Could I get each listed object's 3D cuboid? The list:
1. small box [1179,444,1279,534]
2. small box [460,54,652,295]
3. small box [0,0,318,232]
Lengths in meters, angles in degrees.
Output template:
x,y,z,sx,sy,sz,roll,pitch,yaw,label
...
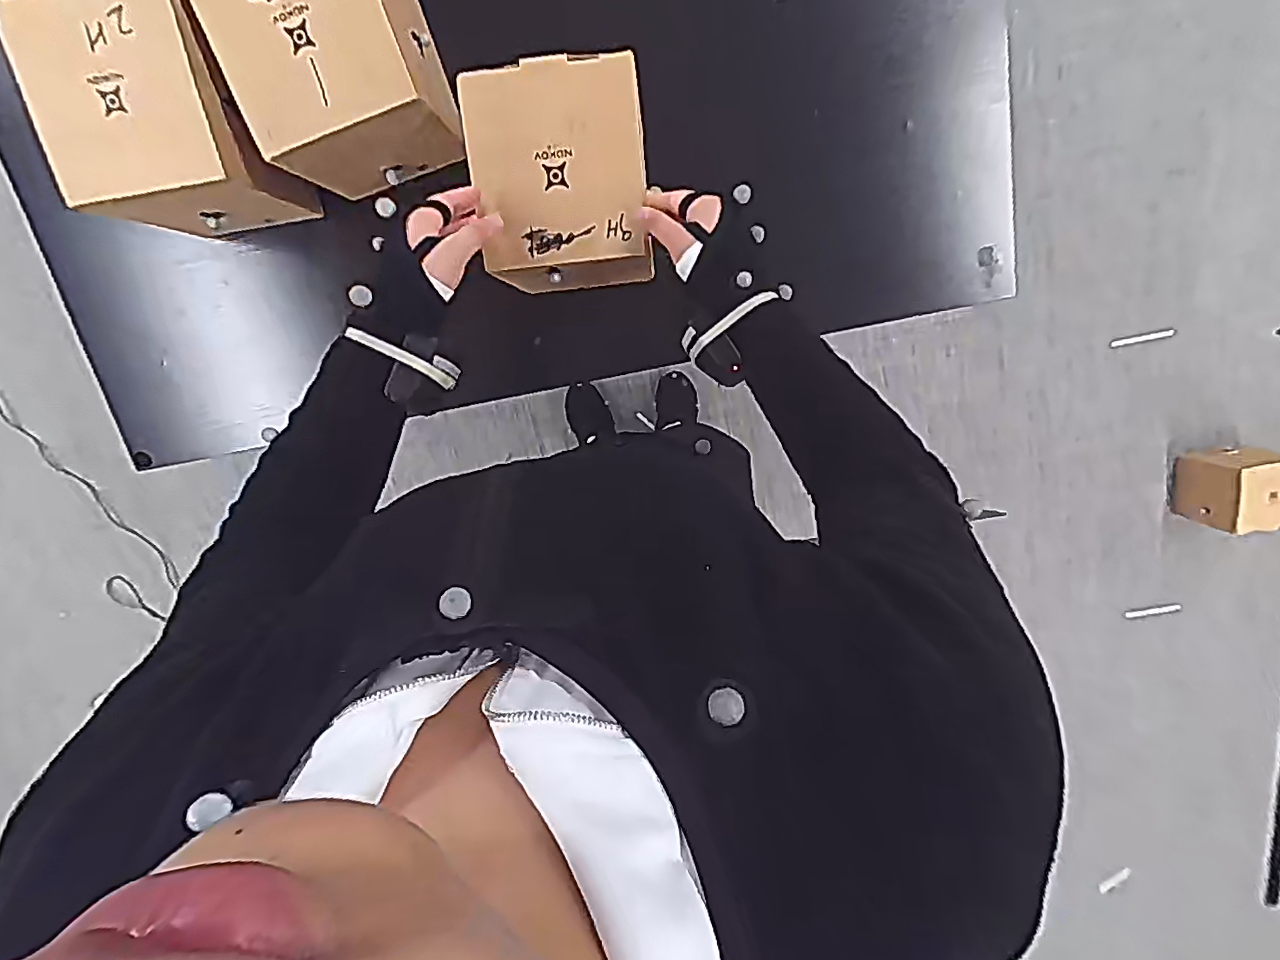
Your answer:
x,y,z,sx,sy,sz,roll,pitch,yaw,label
1.545,0.018,1.389,0.168,0.176,0.179,-12,103,4,small box
-0.076,-0.310,0.588,0.168,0.176,0.179,-5,101,4,small box
-0.488,-0.380,0.583,0.168,0.176,0.179,-9,104,2,small box
